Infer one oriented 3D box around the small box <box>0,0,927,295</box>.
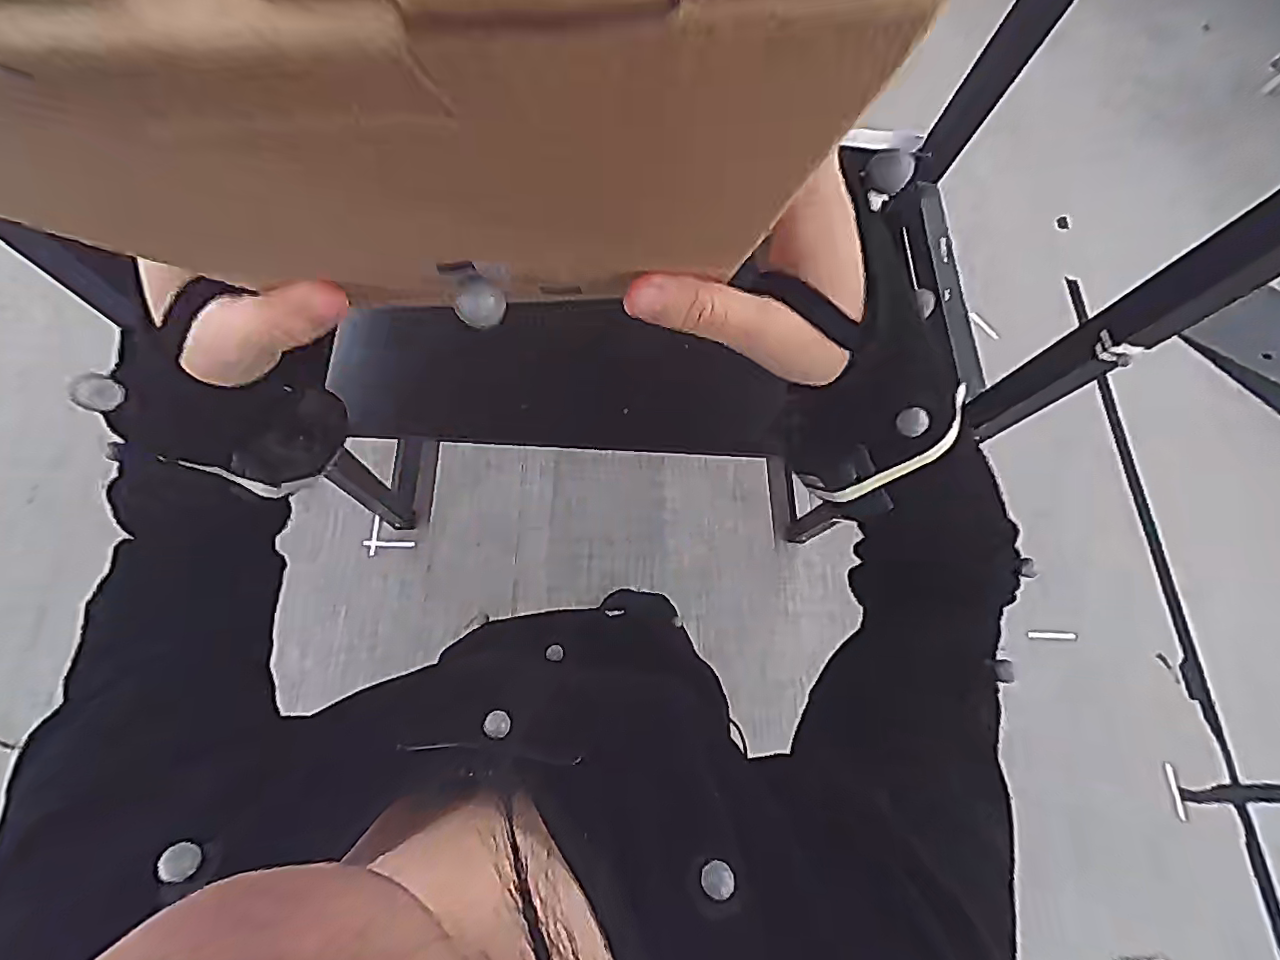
[{"bbox_3d":[-0.050,-0.148,0.119,0.168,0.176,0.179,-2,99,0],"label":"small box"}]
